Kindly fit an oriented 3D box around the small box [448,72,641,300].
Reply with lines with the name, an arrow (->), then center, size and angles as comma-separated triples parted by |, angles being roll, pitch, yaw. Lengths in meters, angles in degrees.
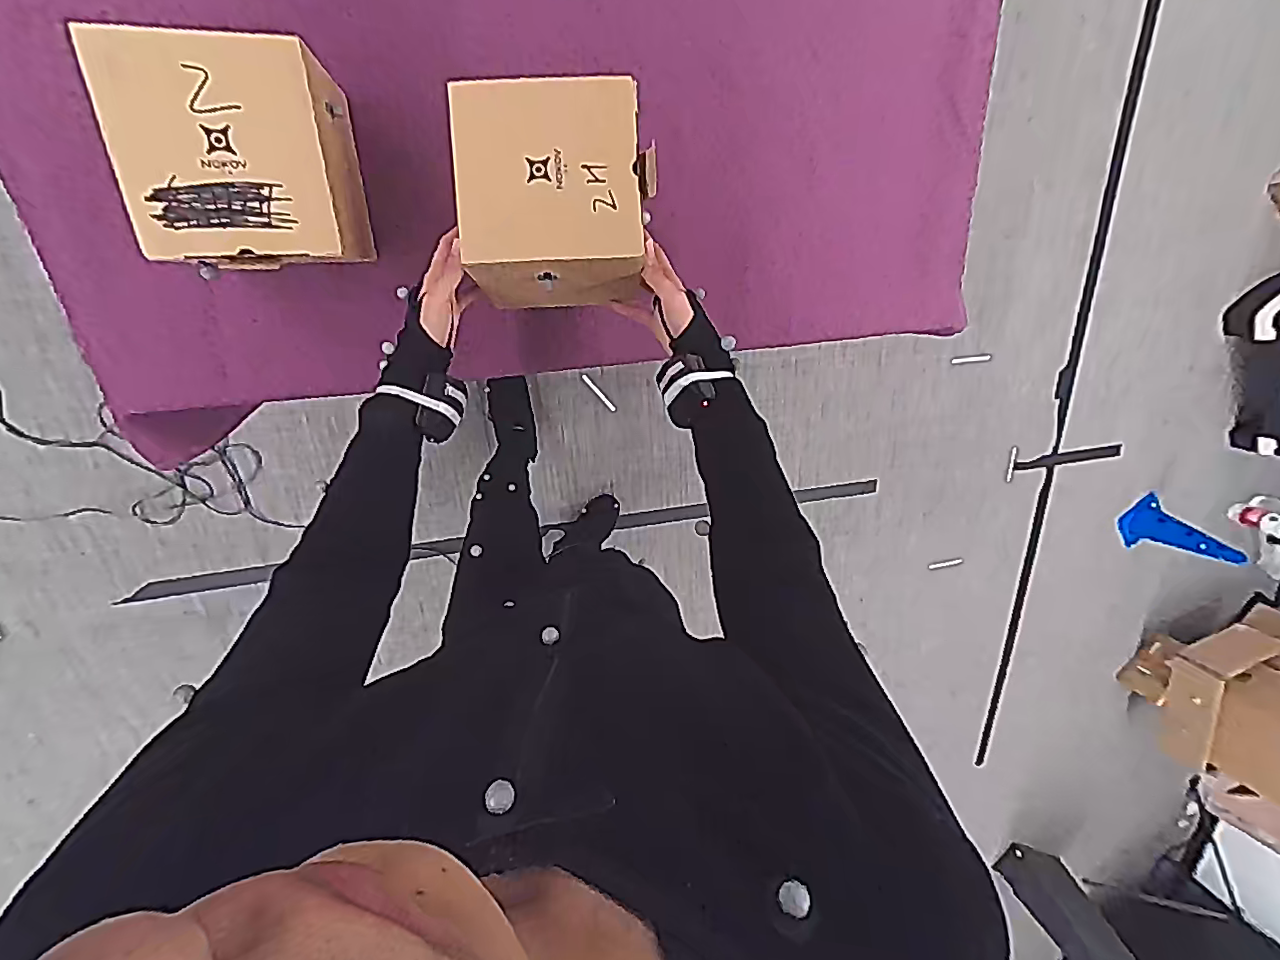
small box -> -0.092, -0.299, 0.585 | 0.179, 0.176, 0.168 | -3, 94, -3
